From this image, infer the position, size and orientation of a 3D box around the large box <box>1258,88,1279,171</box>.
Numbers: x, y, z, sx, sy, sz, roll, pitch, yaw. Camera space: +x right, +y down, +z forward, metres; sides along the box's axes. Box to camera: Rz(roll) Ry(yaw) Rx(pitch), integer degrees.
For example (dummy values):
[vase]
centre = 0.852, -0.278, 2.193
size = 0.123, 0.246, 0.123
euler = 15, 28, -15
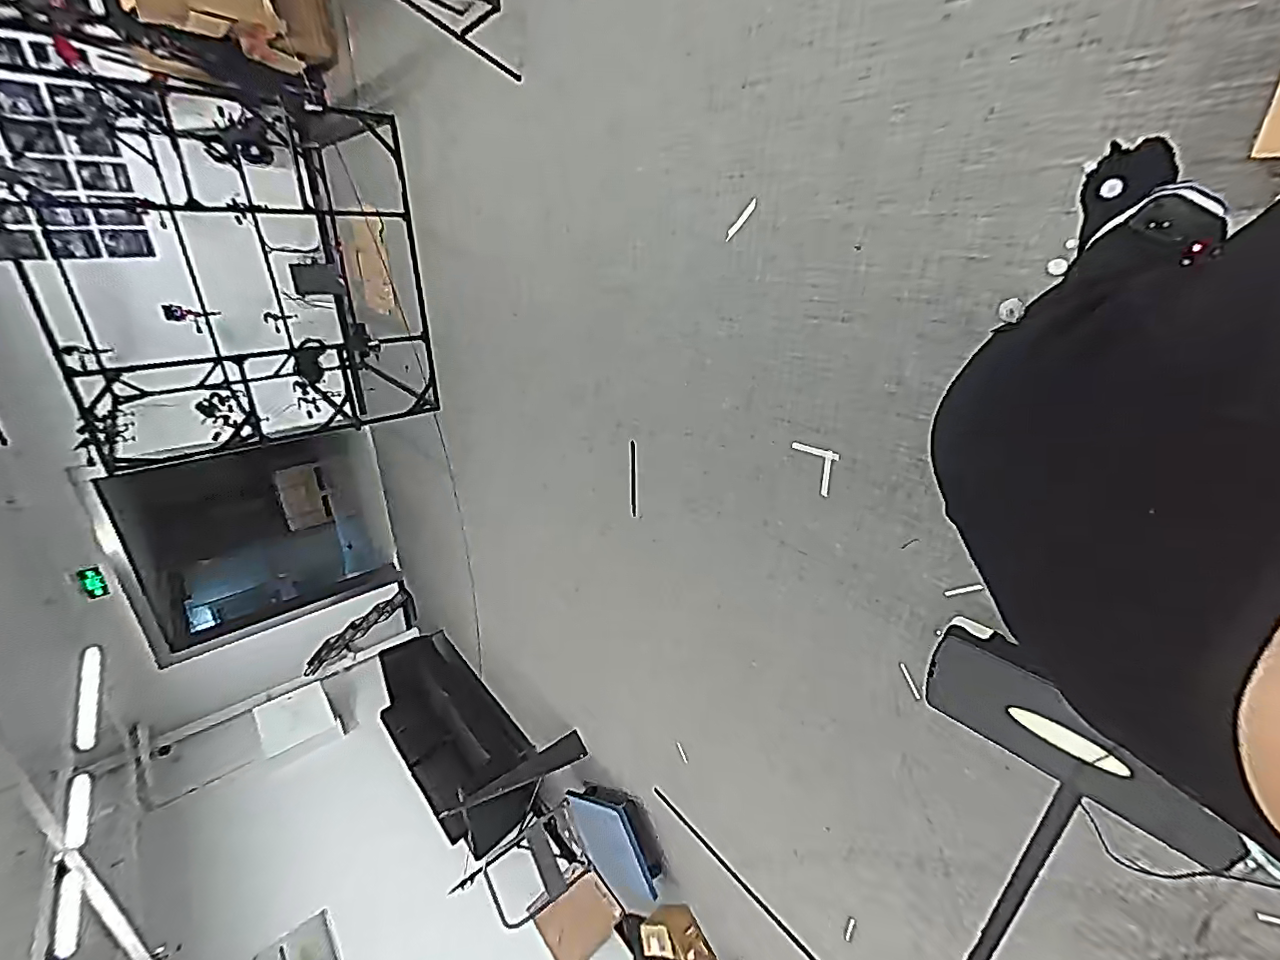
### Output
[large box]
centre = 1.092, -0.572, 0.642
size = 0.408, 0.320, 0.320
euler = 25, 125, 43
